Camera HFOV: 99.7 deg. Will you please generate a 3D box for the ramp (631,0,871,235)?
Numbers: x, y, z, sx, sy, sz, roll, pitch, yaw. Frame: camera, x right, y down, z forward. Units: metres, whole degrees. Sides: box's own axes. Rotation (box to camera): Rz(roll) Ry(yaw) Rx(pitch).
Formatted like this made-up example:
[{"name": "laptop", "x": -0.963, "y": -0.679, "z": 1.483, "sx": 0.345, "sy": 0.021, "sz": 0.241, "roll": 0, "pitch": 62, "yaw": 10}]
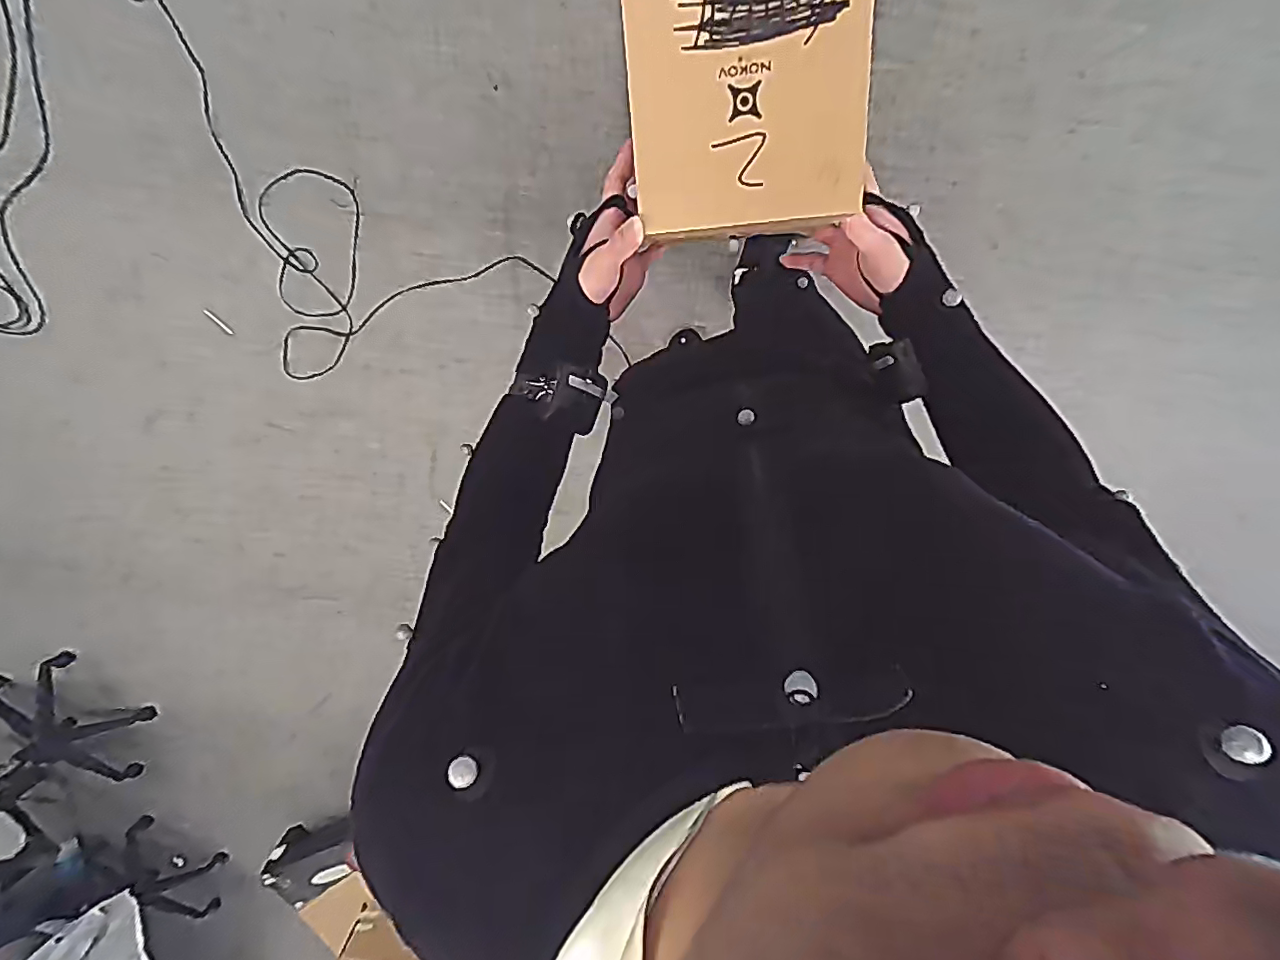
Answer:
[{"name": "ramp", "x": 0.252, "y": -1.076, "z": 1.140, "sx": 0.509, "sy": 0.206, "sz": 0.991, "roll": 4, "pitch": 112, "yaw": 2}]
